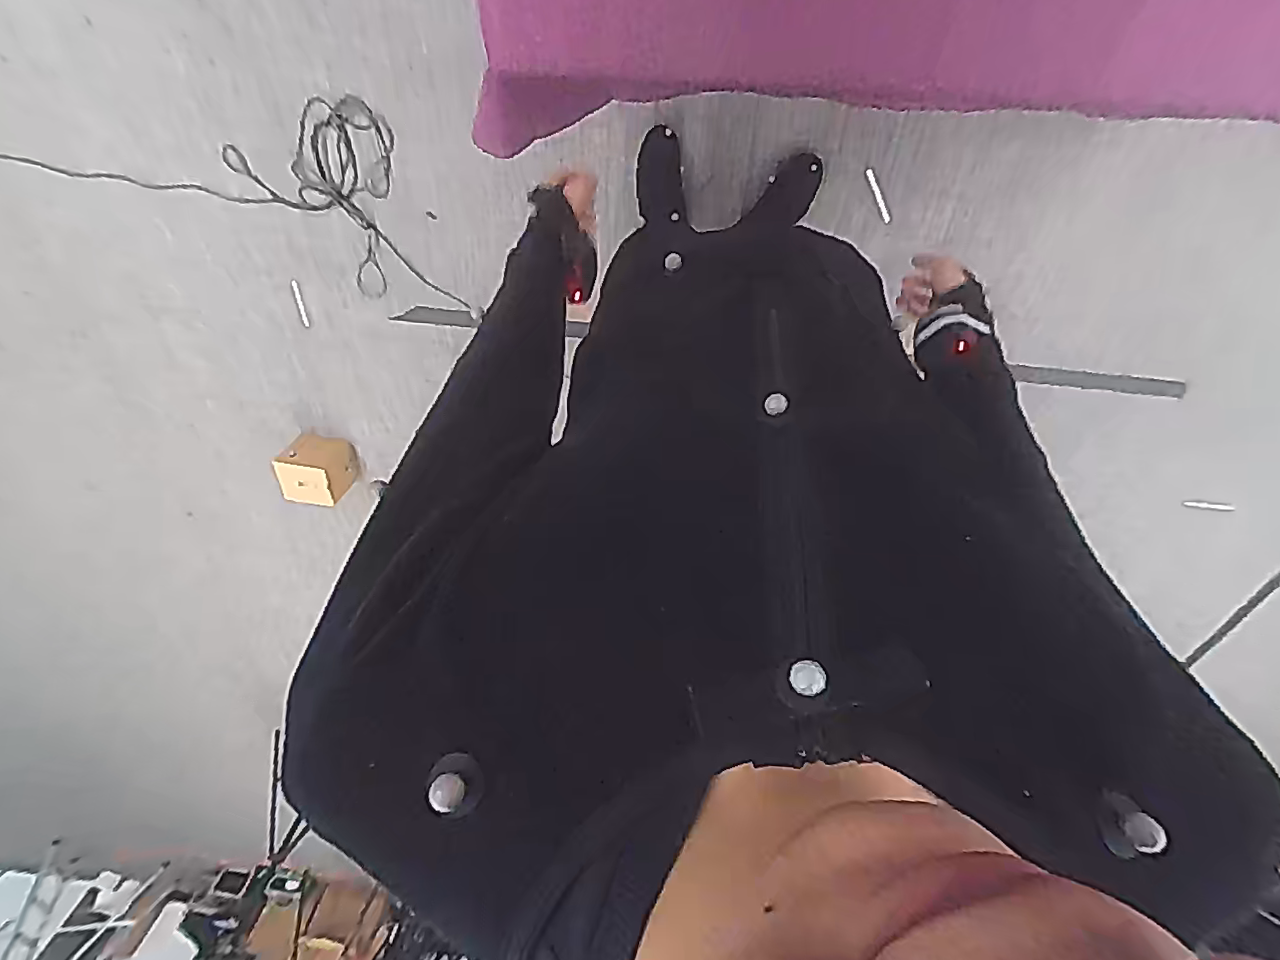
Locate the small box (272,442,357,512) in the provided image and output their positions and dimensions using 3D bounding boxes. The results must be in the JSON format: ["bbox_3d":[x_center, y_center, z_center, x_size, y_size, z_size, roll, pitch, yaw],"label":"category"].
[{"bbox_3d":[-1.121,-0.015,1.874,0.179,0.176,0.168,9,127,-1],"label":"small box"}]
